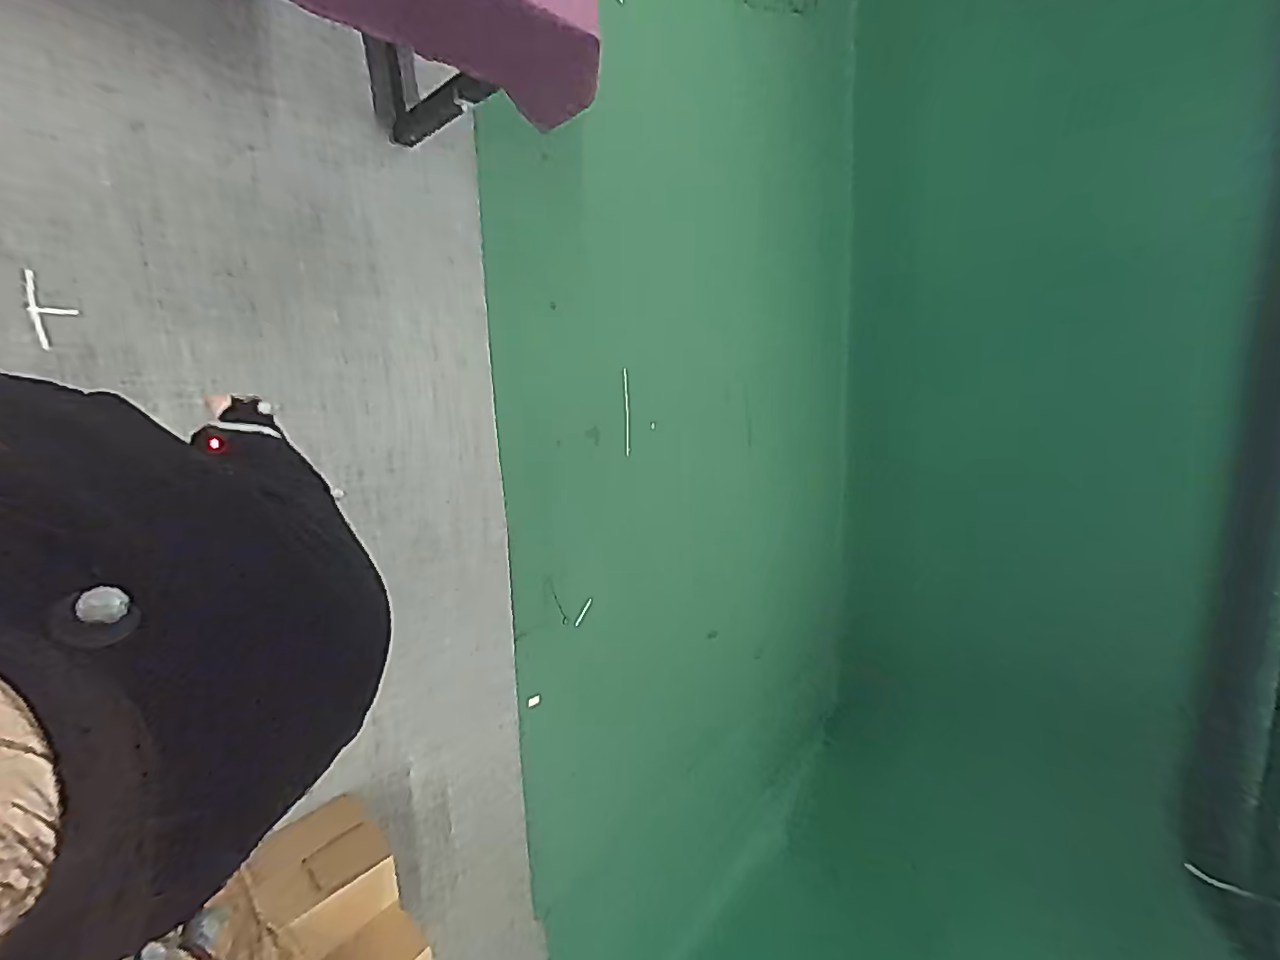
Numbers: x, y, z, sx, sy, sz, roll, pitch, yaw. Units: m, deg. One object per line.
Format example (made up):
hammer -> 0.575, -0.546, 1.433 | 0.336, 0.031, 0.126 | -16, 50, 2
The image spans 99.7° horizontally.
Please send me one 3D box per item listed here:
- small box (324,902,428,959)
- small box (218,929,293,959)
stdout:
small box -> -0.604, 1.135, 1.234 | 0.179, 0.176, 0.168 | -16, 109, -49
small box -> -0.754, 1.031, 1.032 | 0.168, 0.176, 0.179 | -7, 102, -49
